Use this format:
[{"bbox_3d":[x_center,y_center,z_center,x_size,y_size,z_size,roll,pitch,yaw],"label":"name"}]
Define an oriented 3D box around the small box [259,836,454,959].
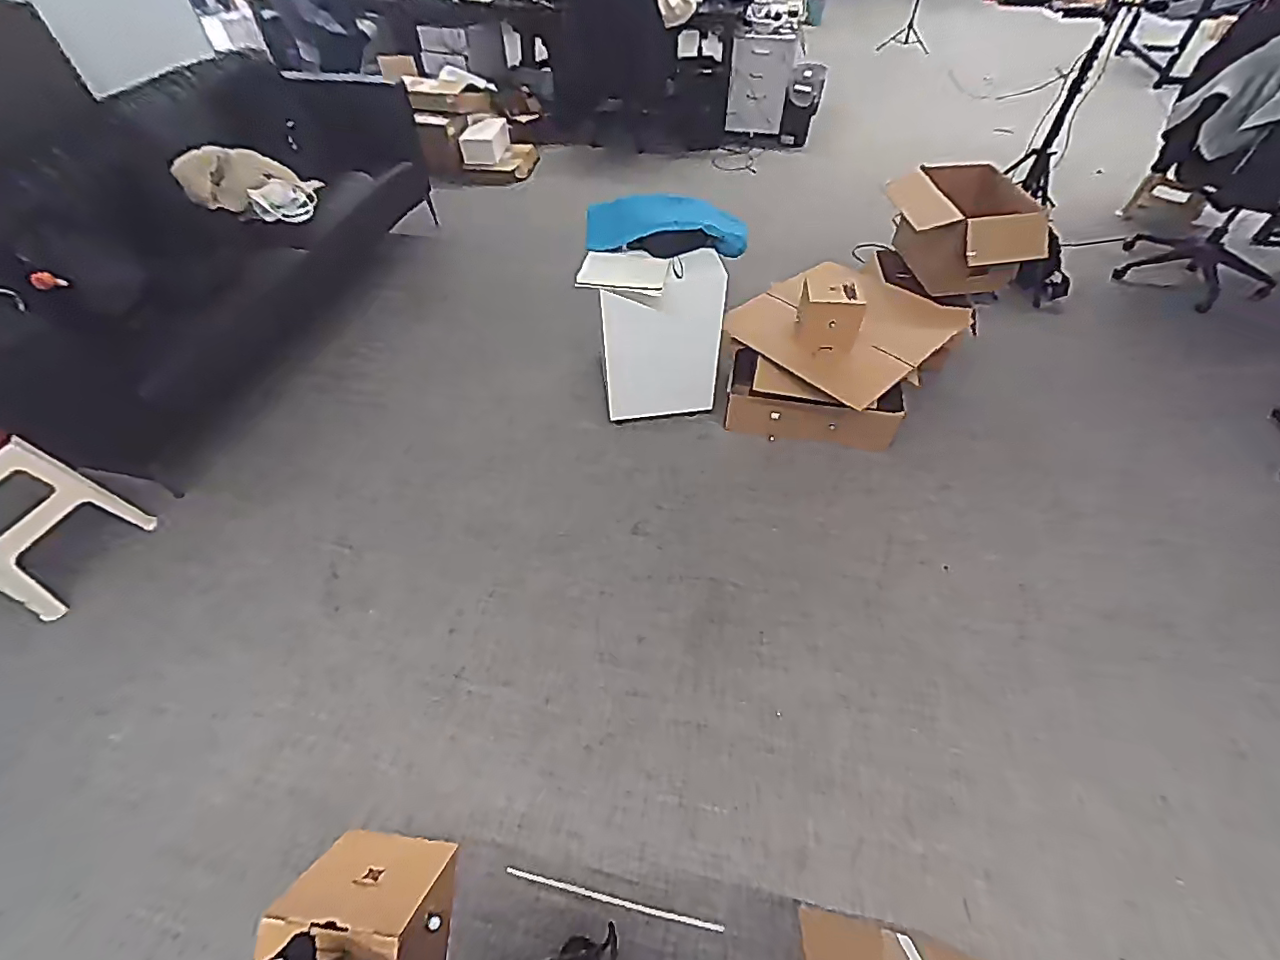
[{"bbox_3d":[-0.358,0.596,0.682,0.168,0.179,0.176,5,86,3],"label":"small box"}]
